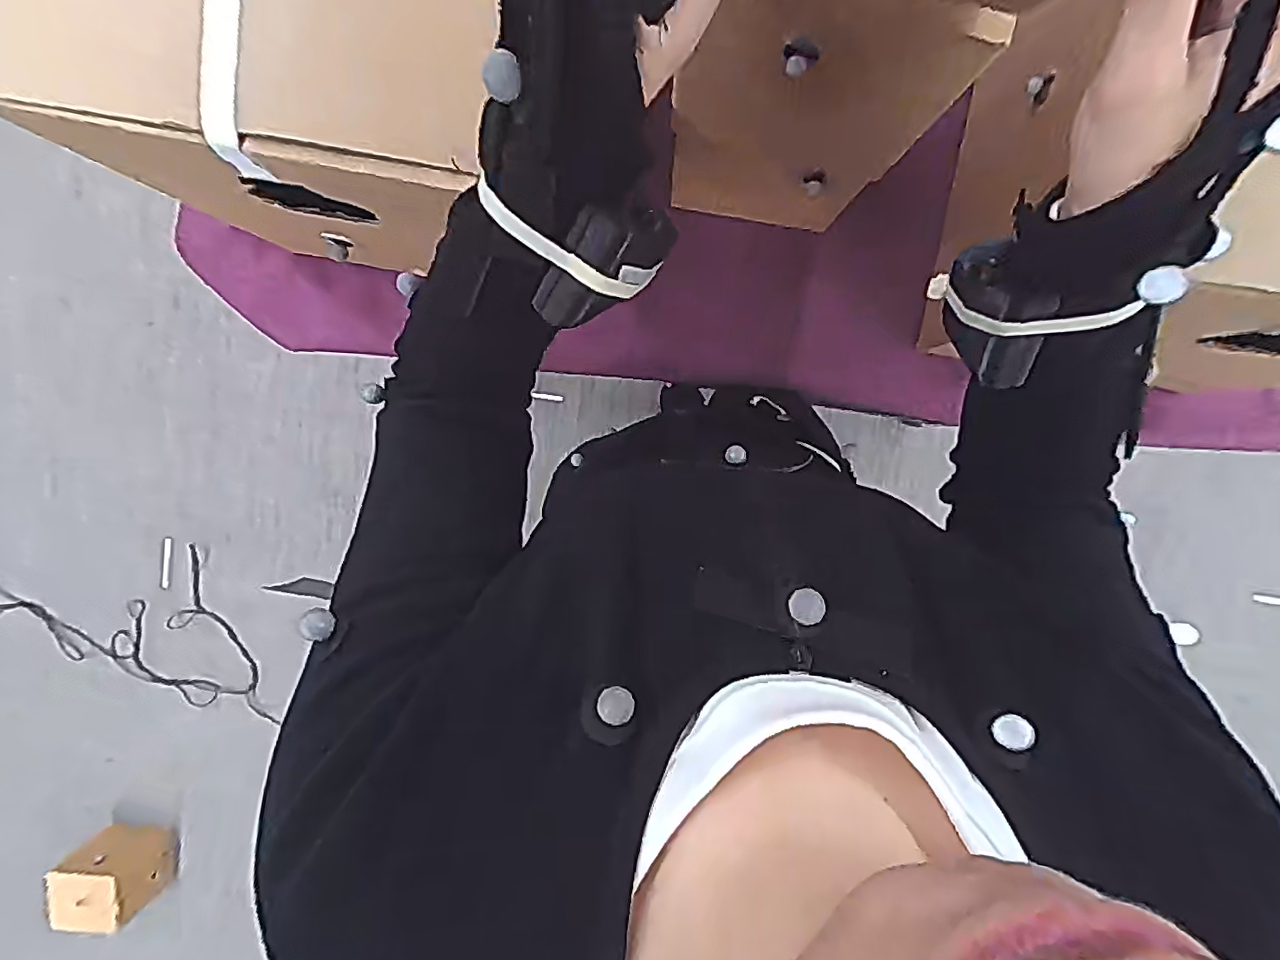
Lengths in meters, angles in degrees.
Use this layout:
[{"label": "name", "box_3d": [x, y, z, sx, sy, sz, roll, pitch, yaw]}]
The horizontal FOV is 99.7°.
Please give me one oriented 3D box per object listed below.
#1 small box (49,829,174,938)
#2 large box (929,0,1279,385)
[{"label": "small box", "box_3d": [-1.409, 1.072, 1.450, 0.179, 0.176, 0.168, 4, 97, 0]}, {"label": "large box", "box_3d": [0.486, -0.303, 0.435, 0.320, 0.320, 0.408, 8, 95, 0]}]
